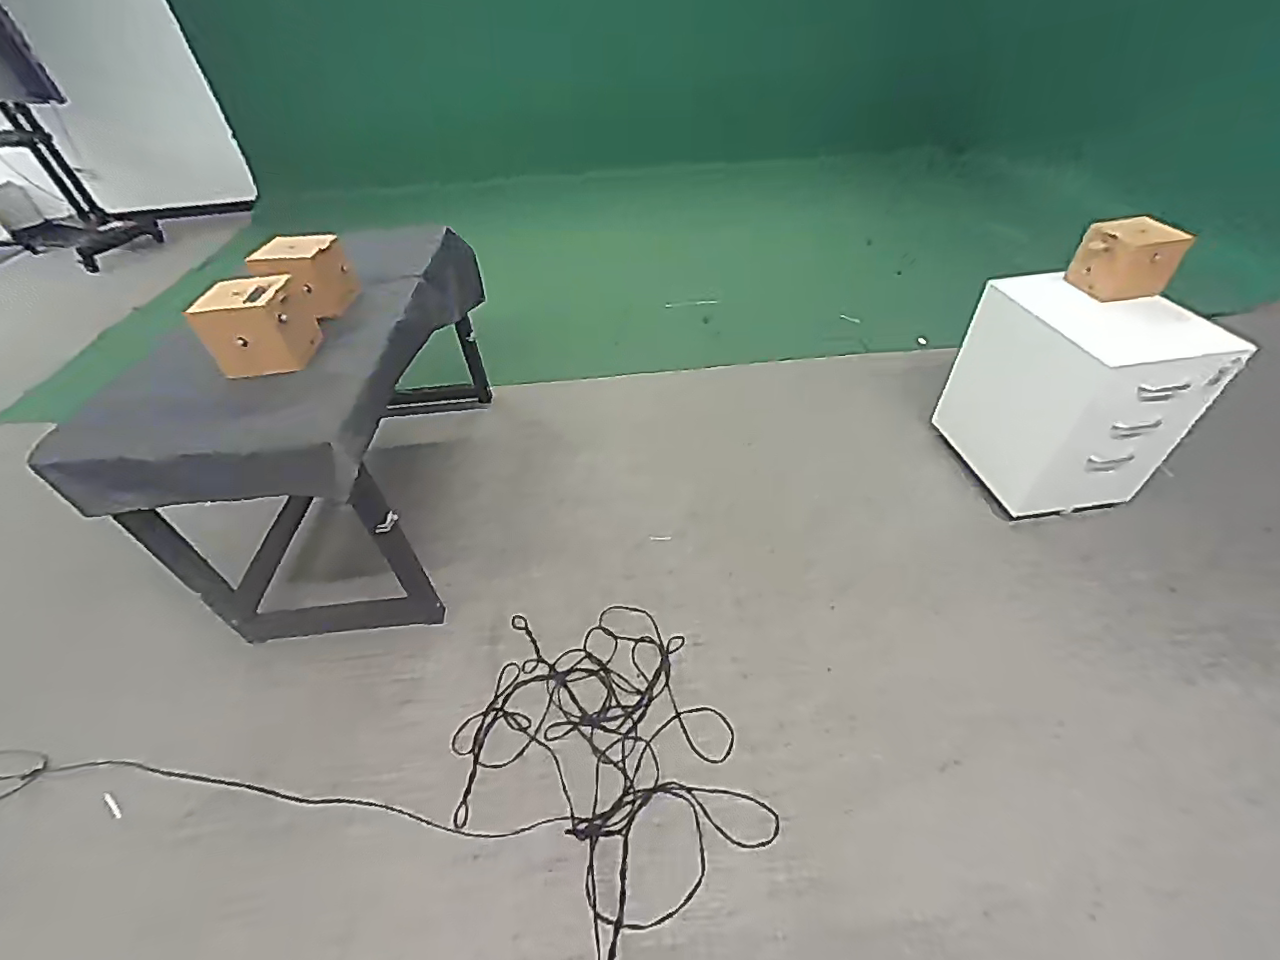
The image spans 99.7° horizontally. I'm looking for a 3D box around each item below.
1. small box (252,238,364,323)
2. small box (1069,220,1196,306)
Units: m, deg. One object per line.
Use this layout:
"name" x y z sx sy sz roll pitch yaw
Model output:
"small box" -0.896 -0.545 1.482 0.179 0.176 0.168 -2 42 4
"small box" 1.402 -0.623 1.555 0.179 0.176 0.168 -9 45 -3
